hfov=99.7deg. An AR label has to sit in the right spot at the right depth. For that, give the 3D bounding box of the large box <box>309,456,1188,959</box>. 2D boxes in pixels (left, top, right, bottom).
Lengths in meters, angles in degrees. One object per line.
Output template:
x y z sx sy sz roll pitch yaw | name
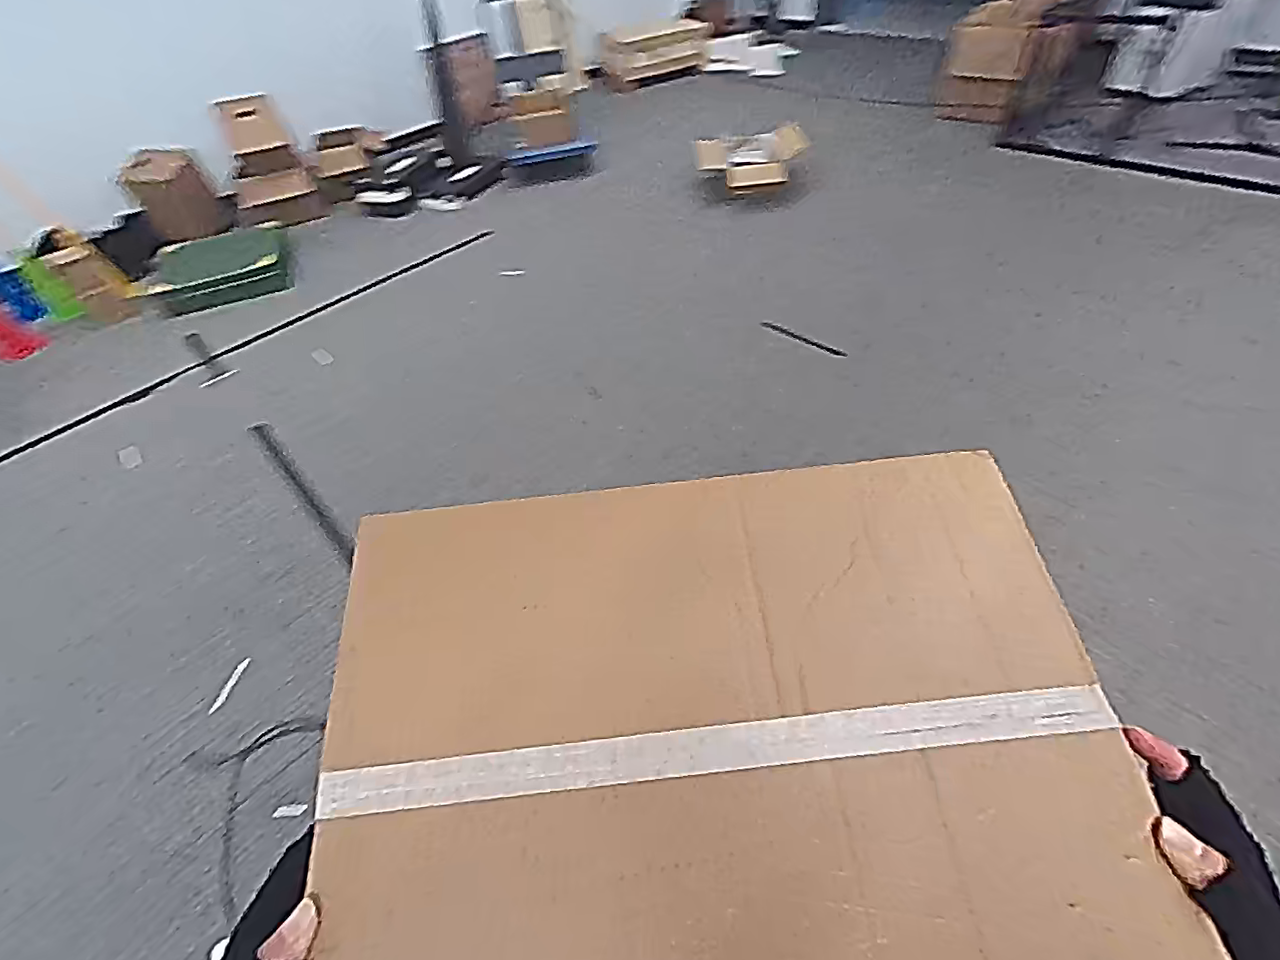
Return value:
0.039 0.214 0.419 0.408 0.320 0.320 -8 63 -1 | large box
